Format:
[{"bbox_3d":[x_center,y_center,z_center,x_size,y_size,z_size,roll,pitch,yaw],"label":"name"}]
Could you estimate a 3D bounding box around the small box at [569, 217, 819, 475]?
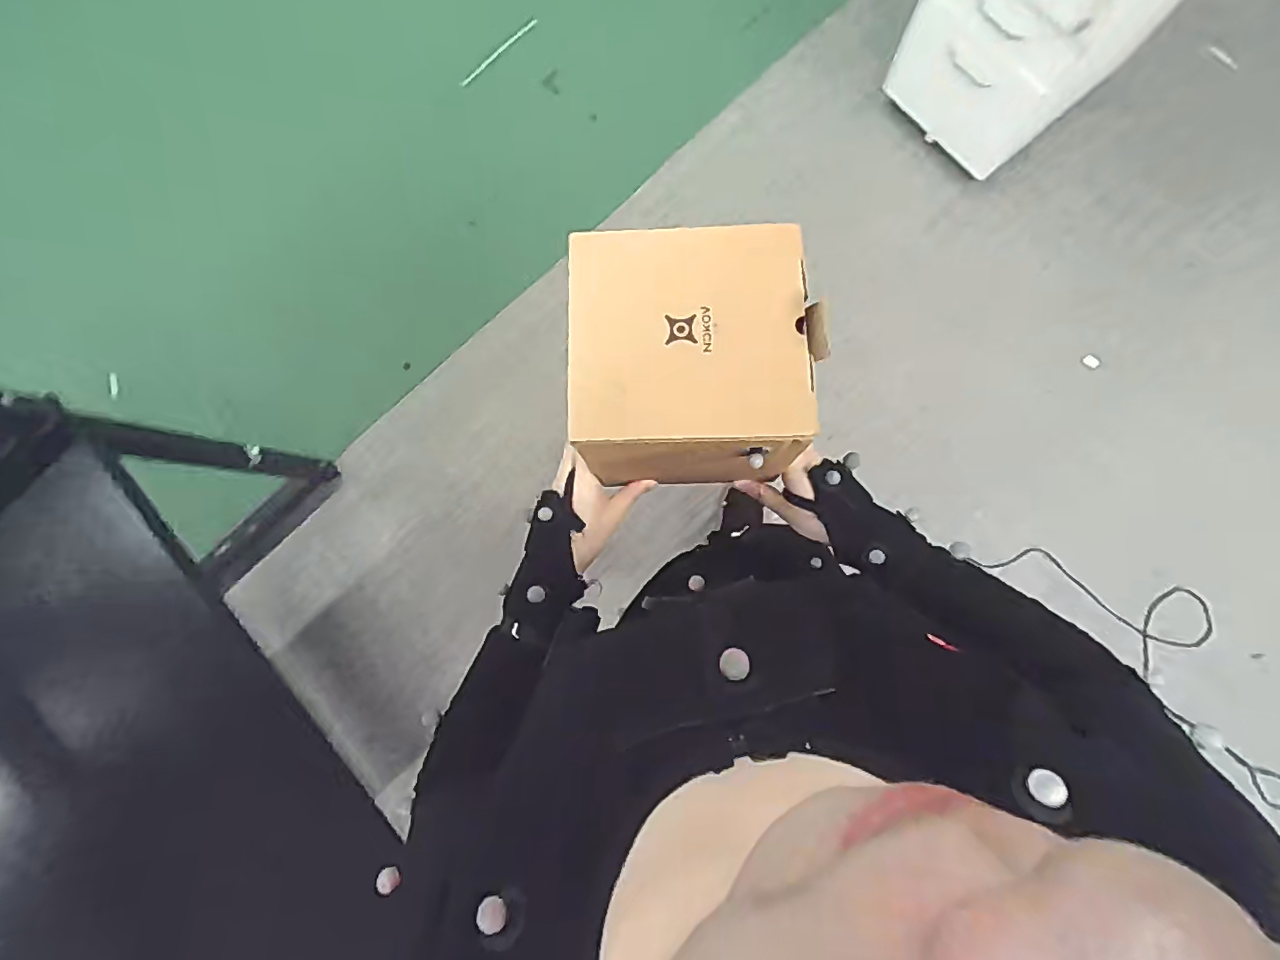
[{"bbox_3d":[0.041,-0.099,0.468,0.179,0.176,0.168,-1,79,2],"label":"small box"}]
